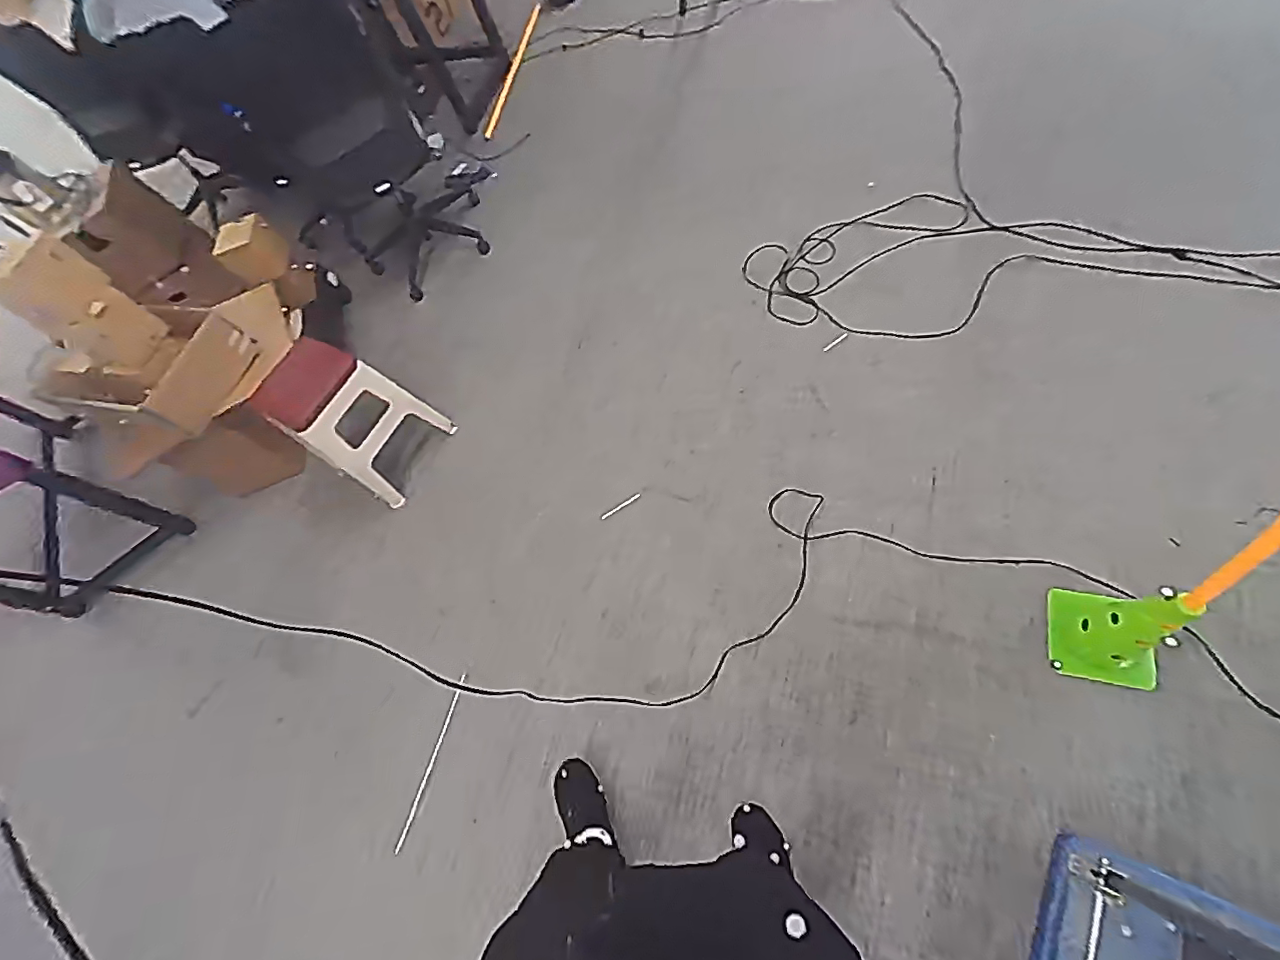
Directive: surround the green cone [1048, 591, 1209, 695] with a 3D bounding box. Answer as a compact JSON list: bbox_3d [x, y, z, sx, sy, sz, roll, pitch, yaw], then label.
[{"bbox_3d":[1.010,0.294,1.085,0.200,0.368,0.202,6,66,20],"label":"green cone"}]
